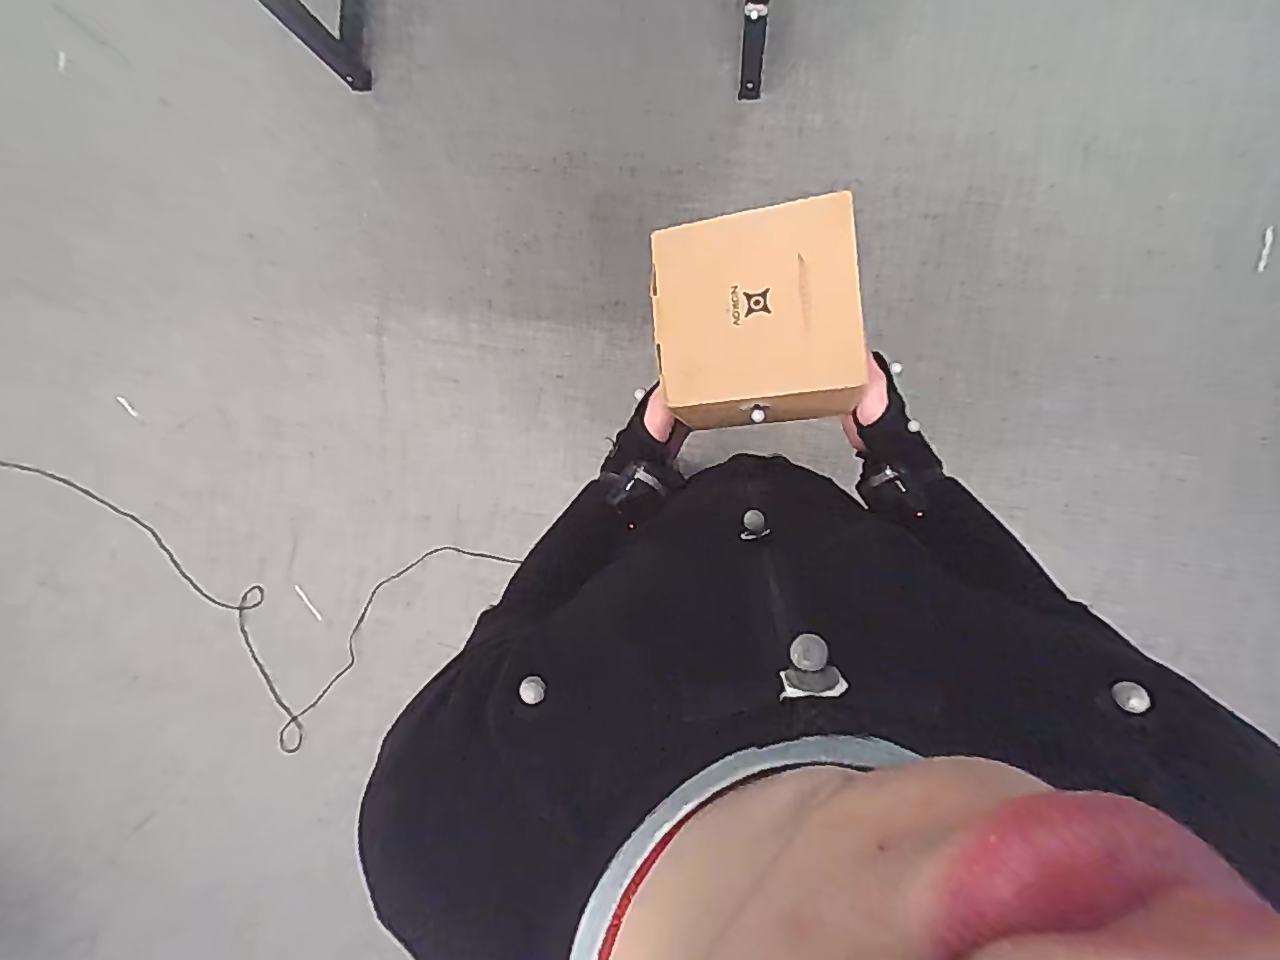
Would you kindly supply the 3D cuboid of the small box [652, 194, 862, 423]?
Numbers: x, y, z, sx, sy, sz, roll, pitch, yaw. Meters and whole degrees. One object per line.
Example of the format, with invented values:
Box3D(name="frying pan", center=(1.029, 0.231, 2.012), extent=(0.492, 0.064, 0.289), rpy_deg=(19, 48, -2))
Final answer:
Box3D(name="small box", center=(0.120, -0.155, 0.556), extent=(0.179, 0.176, 0.168), rpy_deg=(-5, 88, 15))
